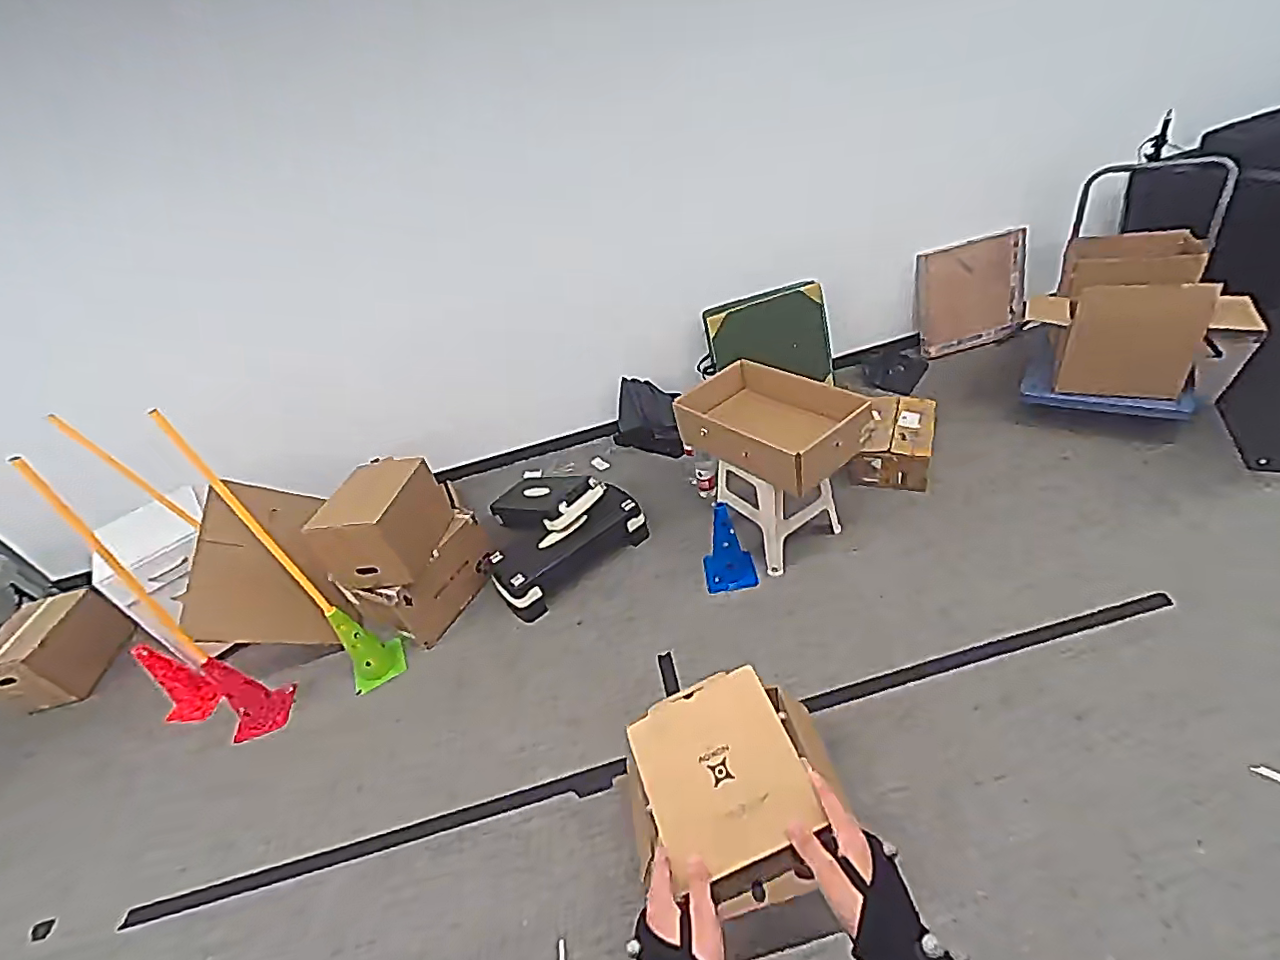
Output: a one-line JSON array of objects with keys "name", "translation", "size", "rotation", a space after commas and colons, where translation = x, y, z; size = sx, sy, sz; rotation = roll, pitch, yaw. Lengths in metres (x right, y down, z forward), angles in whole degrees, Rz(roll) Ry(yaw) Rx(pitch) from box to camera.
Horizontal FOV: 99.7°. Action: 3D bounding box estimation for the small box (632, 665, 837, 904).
[{"name": "small box", "translation": [0.109, 0.356, 0.630], "size": [0.168, 0.176, 0.179], "rotation": [-24, 46, -1]}]
